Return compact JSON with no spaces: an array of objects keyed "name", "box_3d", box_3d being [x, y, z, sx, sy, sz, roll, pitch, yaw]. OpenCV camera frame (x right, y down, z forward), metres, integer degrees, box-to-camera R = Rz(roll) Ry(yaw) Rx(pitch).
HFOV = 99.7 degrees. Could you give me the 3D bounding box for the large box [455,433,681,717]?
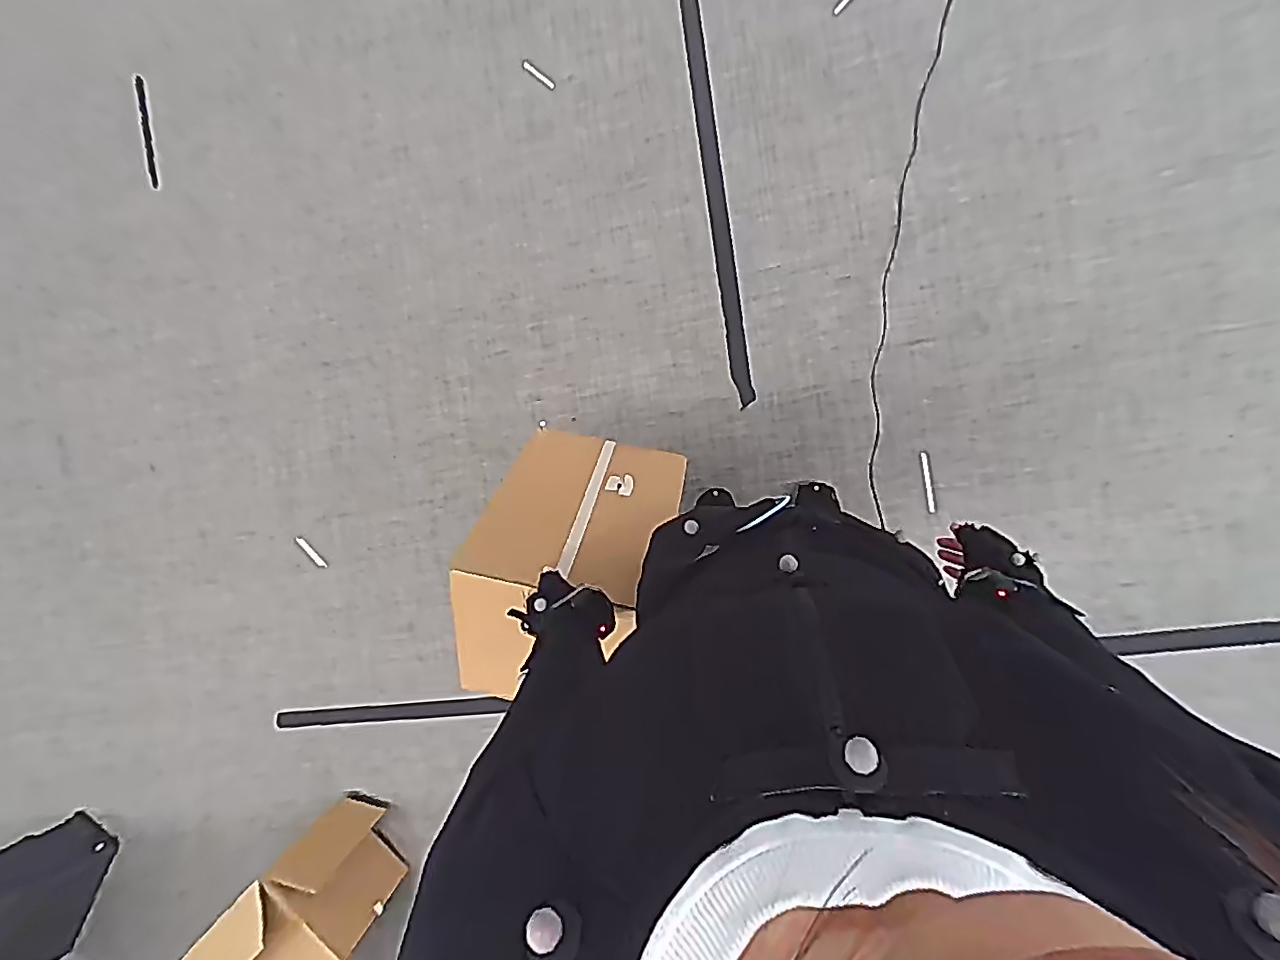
[{"name":"large box","box_3d":[-0.115,0.165,1.028,0.320,0.408,0.320,12,127,3]}]
